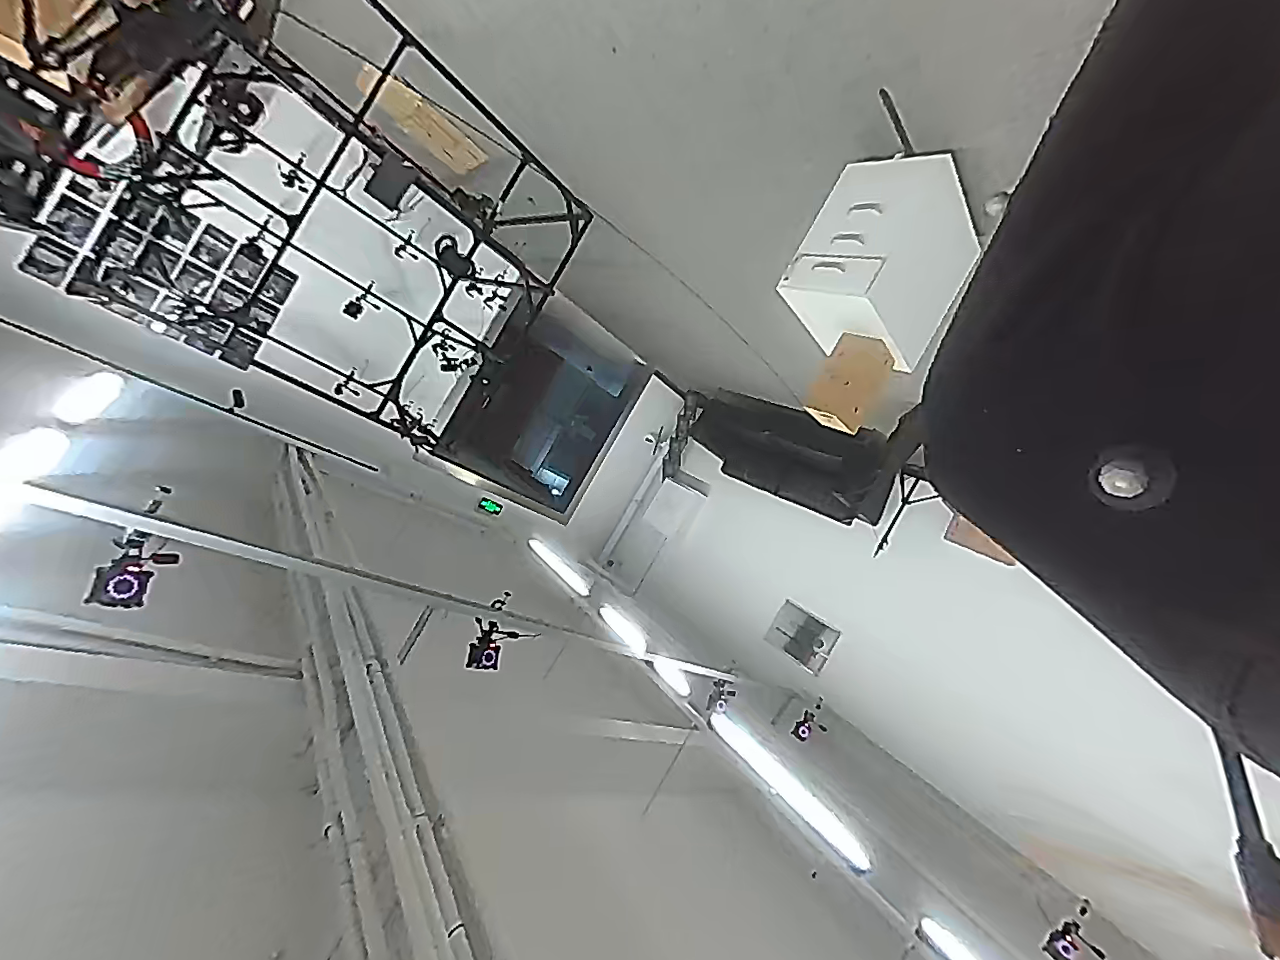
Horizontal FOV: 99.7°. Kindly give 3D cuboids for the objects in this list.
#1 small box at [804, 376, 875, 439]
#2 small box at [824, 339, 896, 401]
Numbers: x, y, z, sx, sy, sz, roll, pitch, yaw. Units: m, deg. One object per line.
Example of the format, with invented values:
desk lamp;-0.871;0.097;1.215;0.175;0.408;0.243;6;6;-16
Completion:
small box;0.784;-0.288;2.117;0.179;0.176;0.168;28;-177;-40
small box;0.862;-0.432;2.113;0.168;0.176;0.179;30;-179;-44
